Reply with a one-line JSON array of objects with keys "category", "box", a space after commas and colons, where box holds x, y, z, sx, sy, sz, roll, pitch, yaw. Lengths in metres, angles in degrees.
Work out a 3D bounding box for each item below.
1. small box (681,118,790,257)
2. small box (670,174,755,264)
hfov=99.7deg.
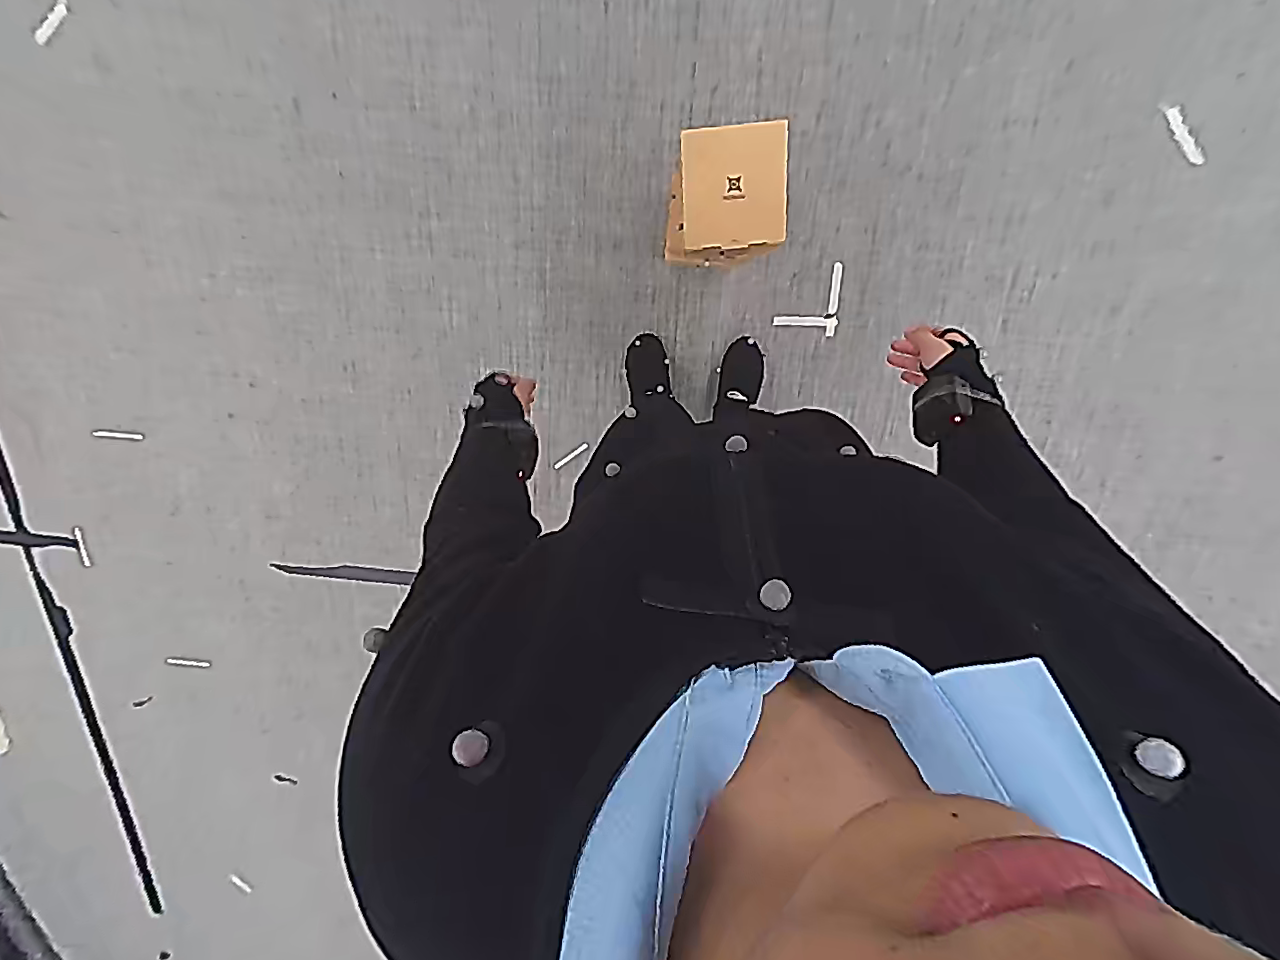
[{"category": "small box", "box": [0.155, -0.486, 0.924, 0.168, 0.176, 0.179, -3, 109, 5]}, {"category": "small box", "box": [0.154, -0.538, 1.079, 0.168, 0.176, 0.179, 9, 109, 2]}]
